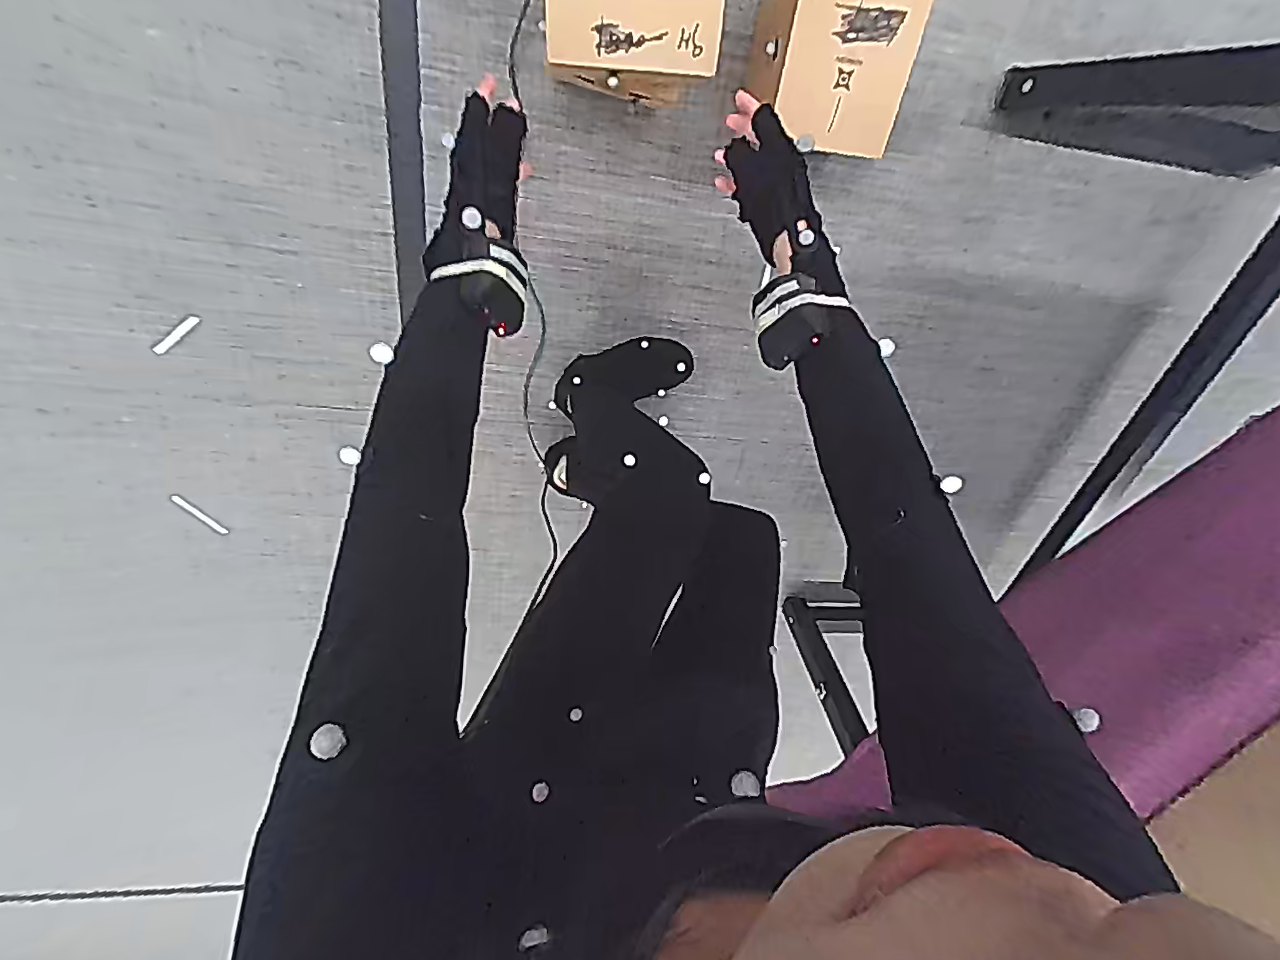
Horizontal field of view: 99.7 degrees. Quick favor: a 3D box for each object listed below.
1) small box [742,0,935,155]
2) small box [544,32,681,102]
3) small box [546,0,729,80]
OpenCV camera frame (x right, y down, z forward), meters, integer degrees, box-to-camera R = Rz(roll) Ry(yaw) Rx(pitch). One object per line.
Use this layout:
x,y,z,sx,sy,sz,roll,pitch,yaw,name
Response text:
0.248,-0.554,0.726,0.168,0.176,0.179,3,124,-9,small box
-0.022,-0.591,0.668,0.168,0.176,0.179,7,121,-14,small box
-0.008,-0.510,0.526,0.168,0.176,0.179,-1,124,-8,small box
